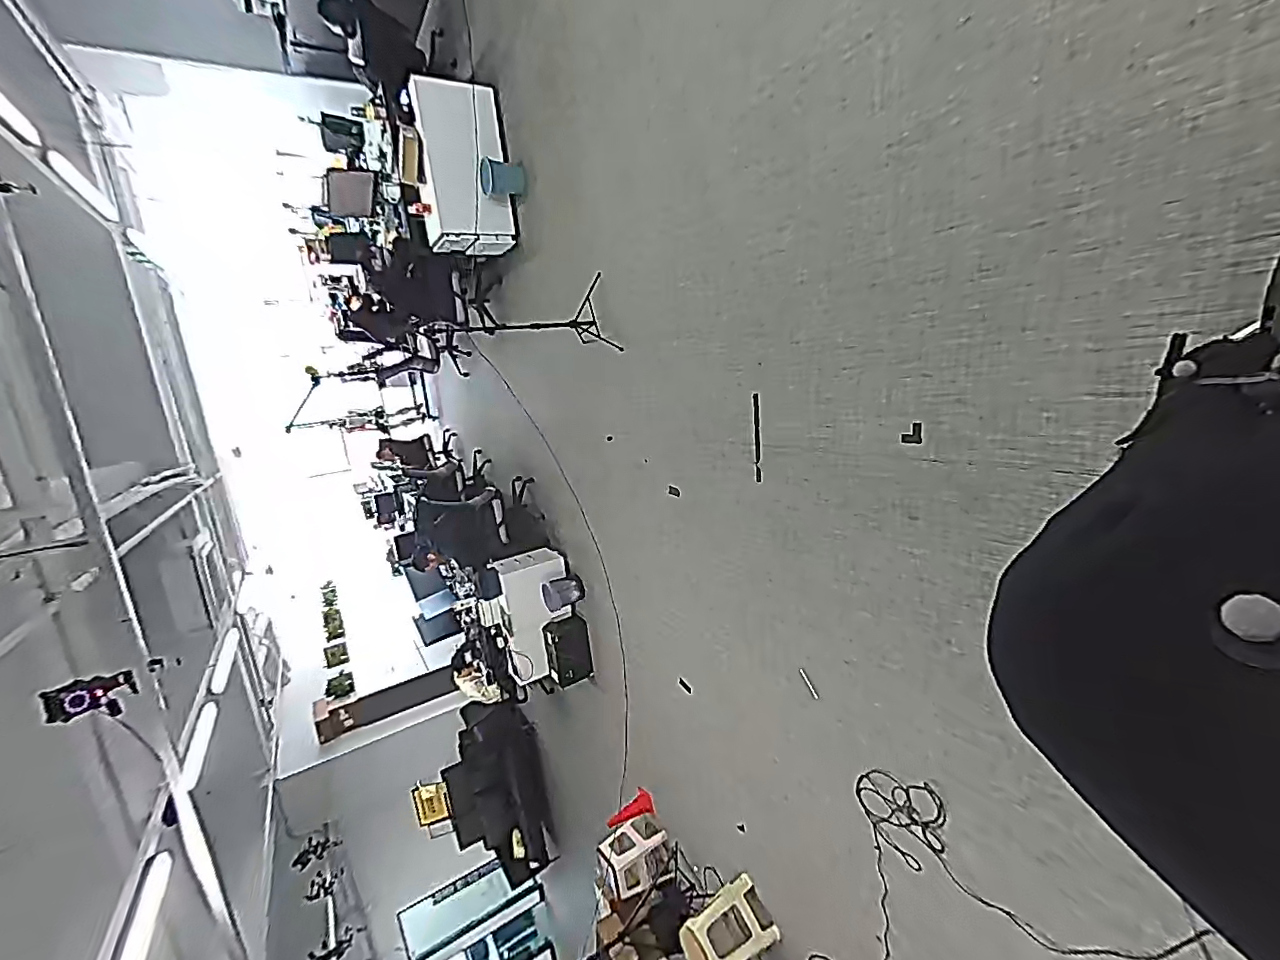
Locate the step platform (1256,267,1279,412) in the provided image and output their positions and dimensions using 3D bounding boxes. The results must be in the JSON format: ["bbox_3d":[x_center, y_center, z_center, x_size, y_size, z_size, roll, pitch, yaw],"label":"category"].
[{"bbox_3d":[1.377,-0.241,0.754,0.684,0.204,0.286,11,111,57],"label":"step platform"}]
